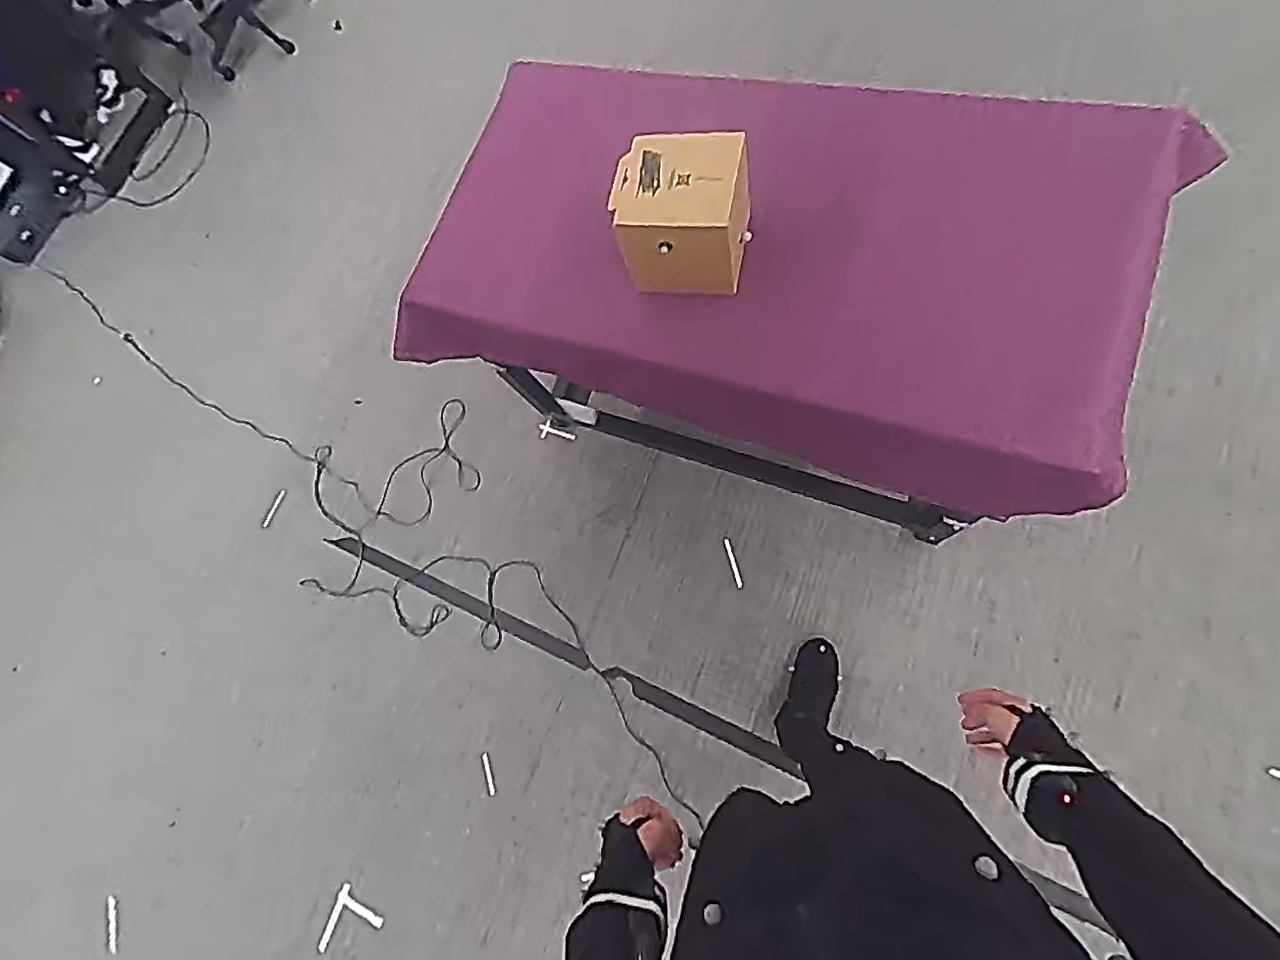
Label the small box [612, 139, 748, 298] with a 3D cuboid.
[{"bbox_3d":[0.074,-0.415,0.879,0.179,0.176,0.168,8,77,15],"label":"small box"}]
